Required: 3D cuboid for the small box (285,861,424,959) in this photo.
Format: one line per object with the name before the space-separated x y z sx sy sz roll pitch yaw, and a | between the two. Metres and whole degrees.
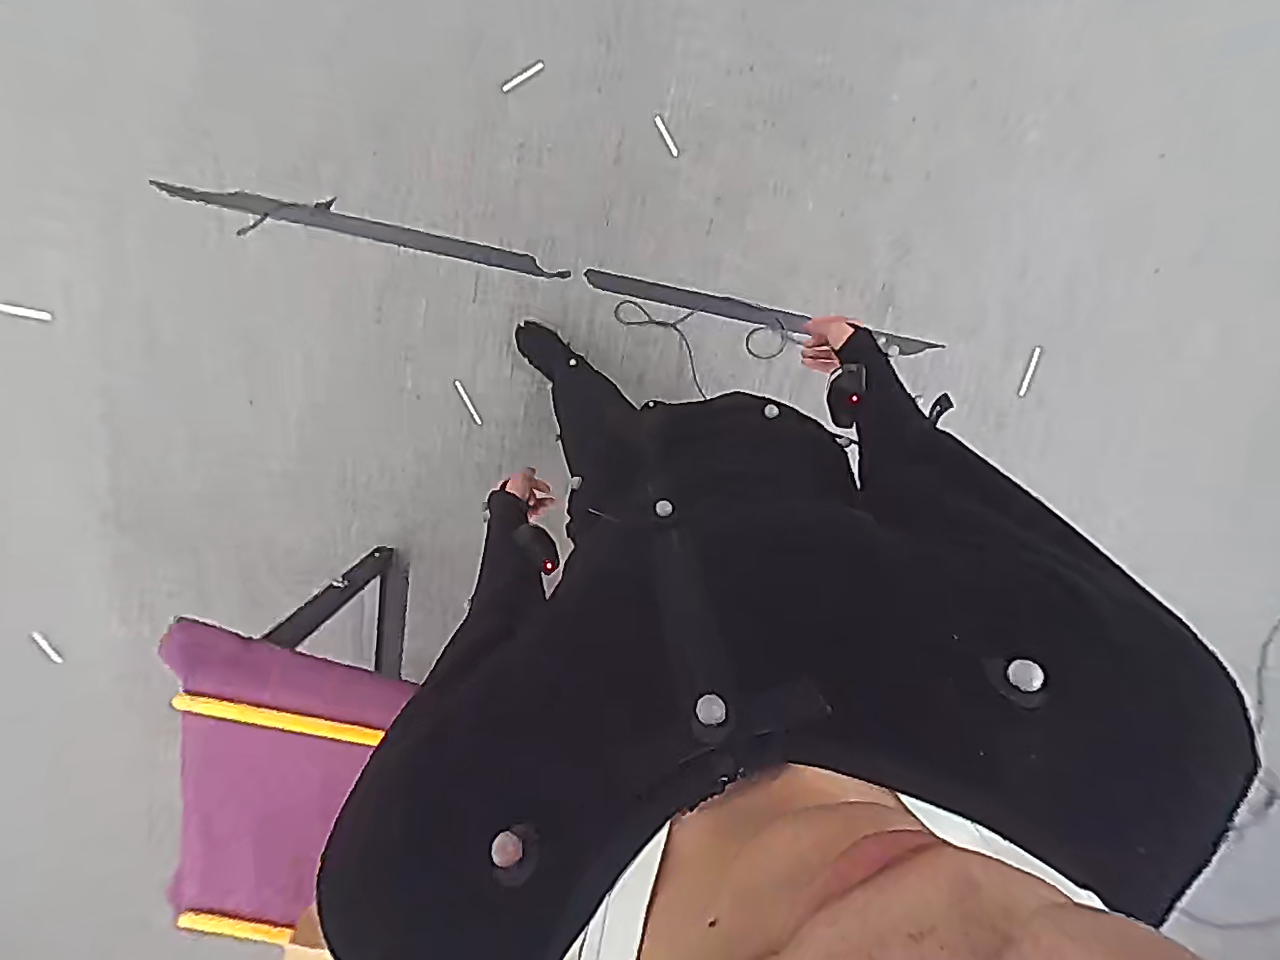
small box | -0.537 0.868 1.025 0.179 0.176 0.168 12 102 -3
